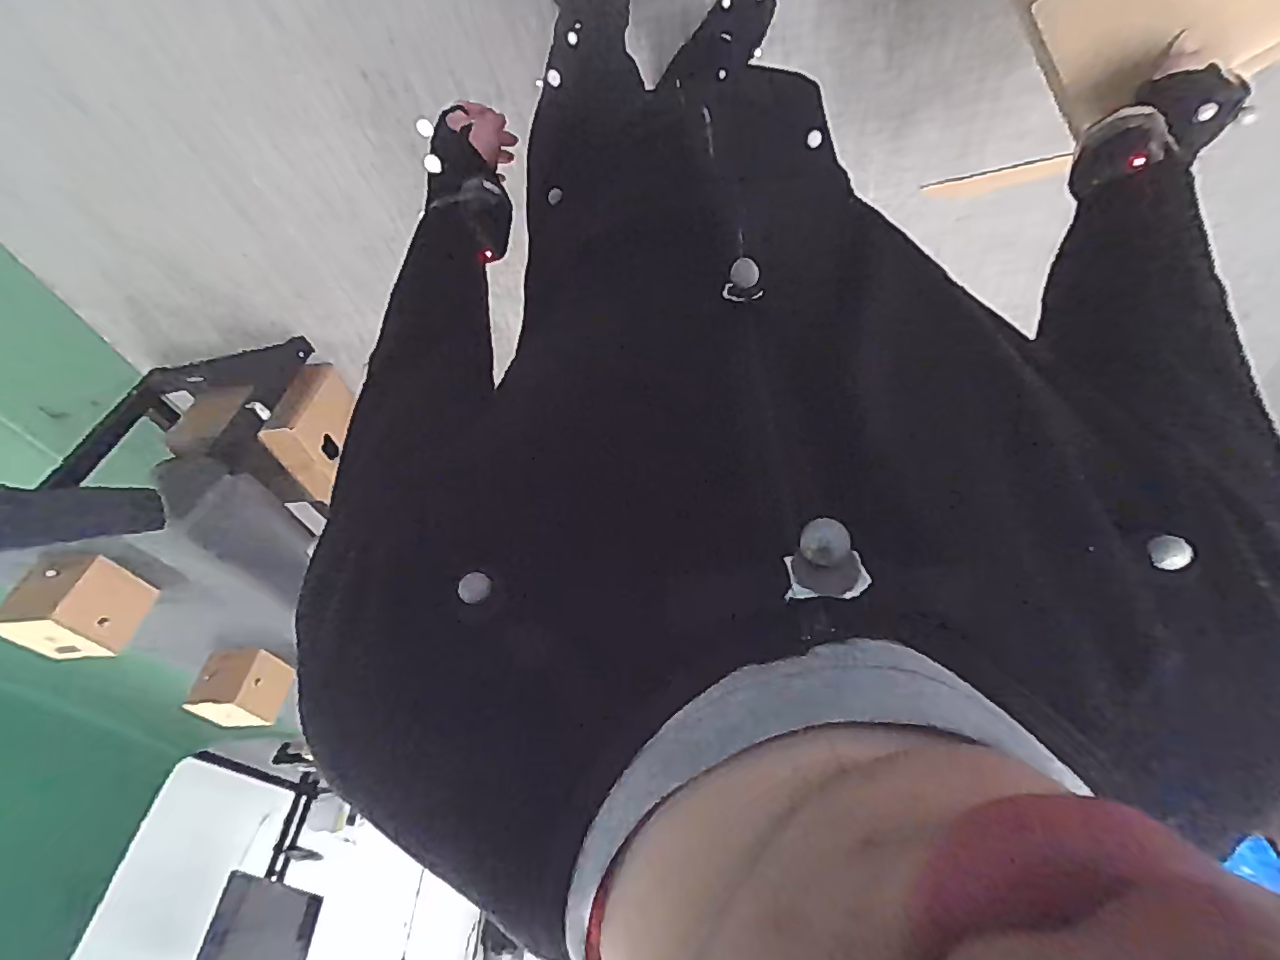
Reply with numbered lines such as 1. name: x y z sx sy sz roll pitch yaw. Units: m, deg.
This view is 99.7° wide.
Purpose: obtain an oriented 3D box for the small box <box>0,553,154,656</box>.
1. small box: -1.285 0.285 1.233 0.168 0.176 0.179 -5 138 6

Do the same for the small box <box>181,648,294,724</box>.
1. small box: -1.181 0.609 1.602 0.168 0.176 0.179 -5 139 8
